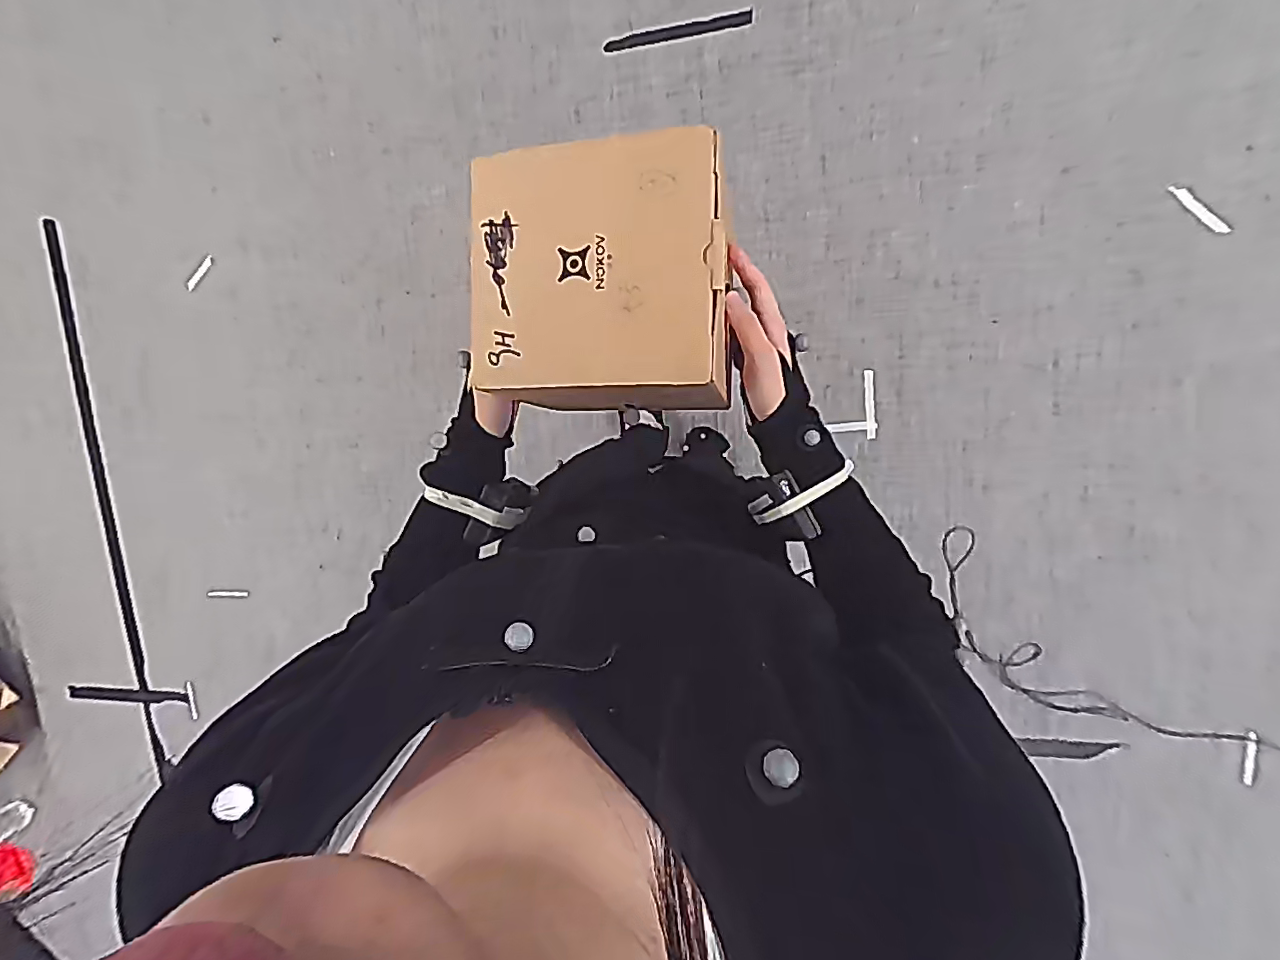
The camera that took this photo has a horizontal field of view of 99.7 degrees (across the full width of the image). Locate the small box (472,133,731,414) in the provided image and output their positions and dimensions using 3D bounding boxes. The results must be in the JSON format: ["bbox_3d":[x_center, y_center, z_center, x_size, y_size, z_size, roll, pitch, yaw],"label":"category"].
[{"bbox_3d":[-0.017,-0.146,0.443,0.179,0.176,0.168,1,91,12],"label":"small box"}]
